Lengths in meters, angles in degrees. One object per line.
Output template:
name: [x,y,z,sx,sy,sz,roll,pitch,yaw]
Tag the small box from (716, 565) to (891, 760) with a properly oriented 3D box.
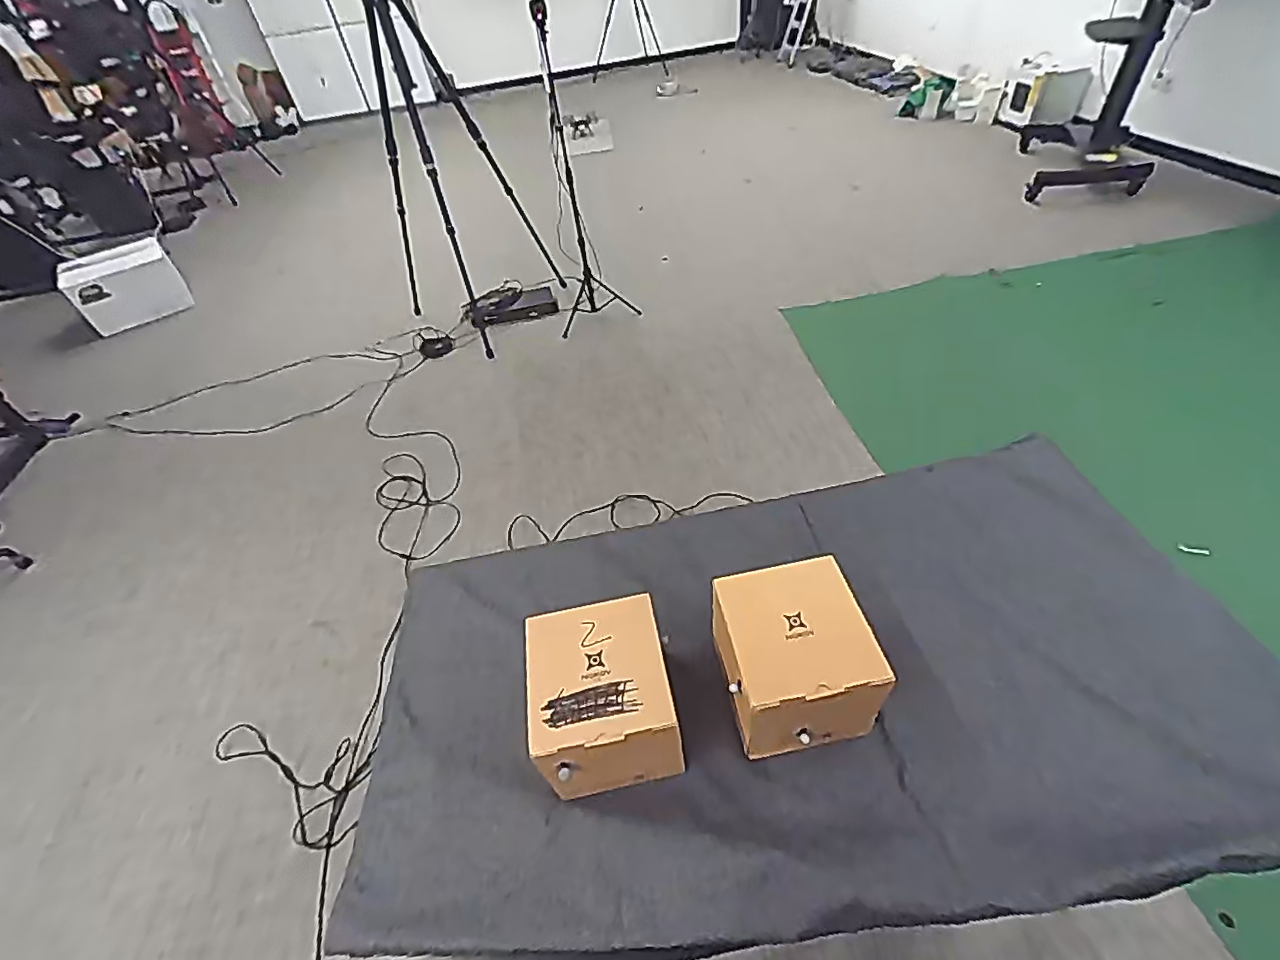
small box: [0.200,0.244,0.724,0.168,0.176,0.179,-11,46,-2]
